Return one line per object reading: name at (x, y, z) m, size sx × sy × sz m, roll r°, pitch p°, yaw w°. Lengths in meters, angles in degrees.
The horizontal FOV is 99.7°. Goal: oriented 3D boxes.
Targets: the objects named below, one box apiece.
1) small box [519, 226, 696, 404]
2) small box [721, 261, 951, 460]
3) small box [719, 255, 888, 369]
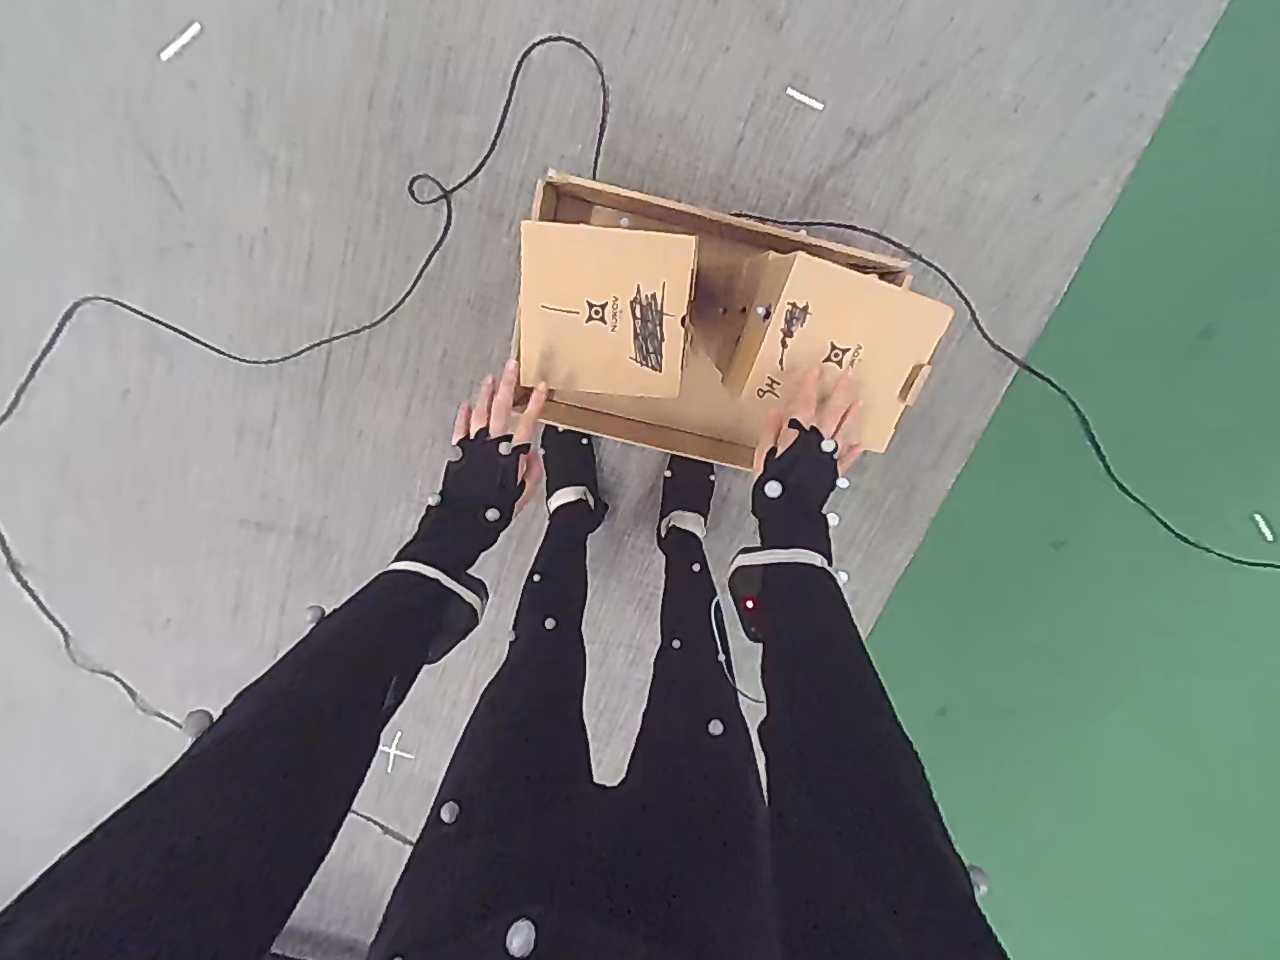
small box at (-0.038, -0.194, 0.633) m, size 0.179 × 0.176 × 0.168 m, roll 5°, pitch 110°, yaw -1°
small box at (0.211, -0.146, 0.640) m, size 0.179 × 0.176 × 0.168 m, roll 18°, pitch 108°, yaw -5°
small box at (0.221, -0.213, 0.792) m, size 0.168 × 0.176 × 0.179 m, roll 16°, pitch 109°, yaw -3°
